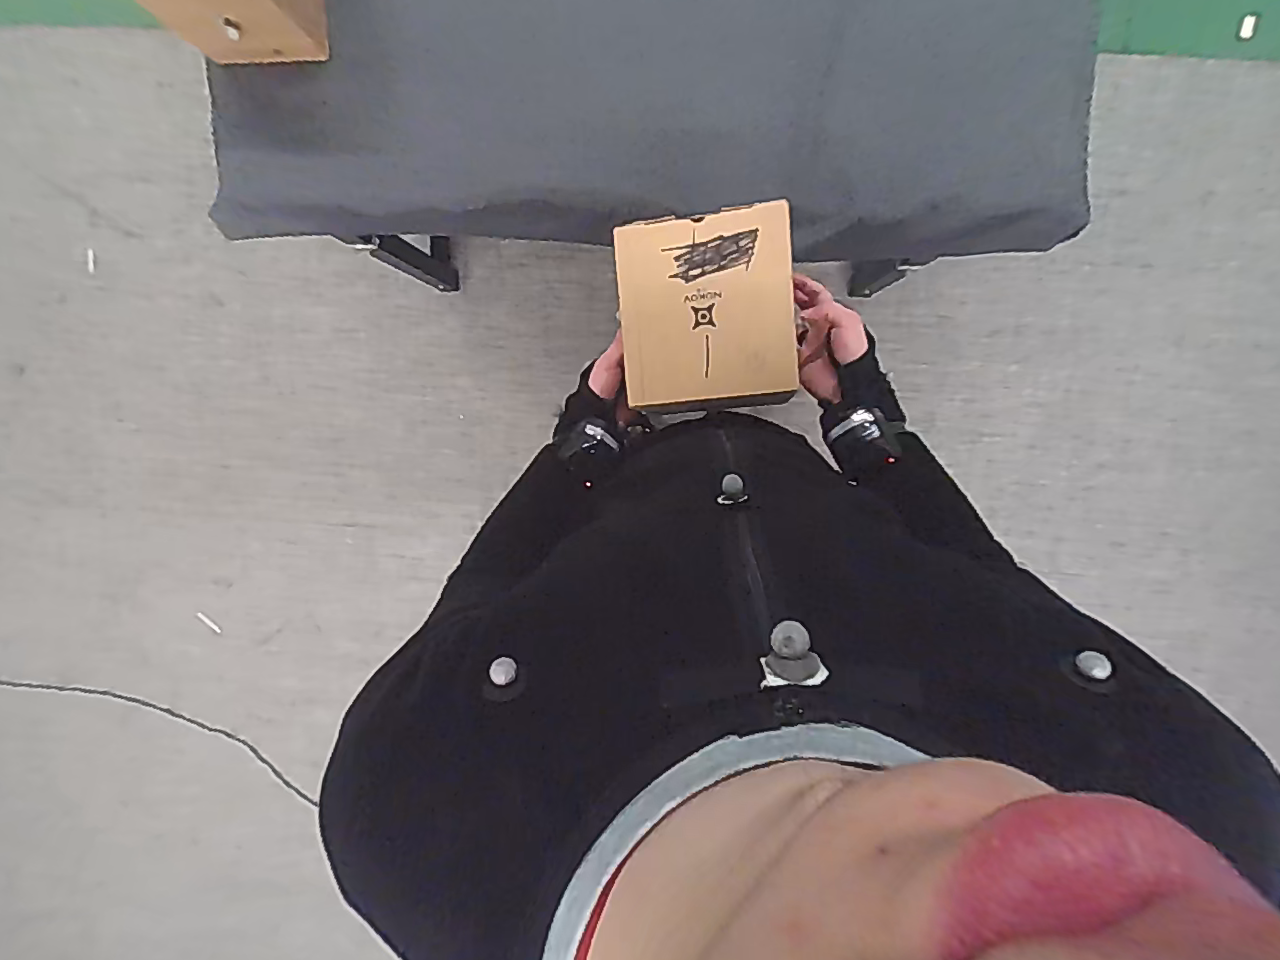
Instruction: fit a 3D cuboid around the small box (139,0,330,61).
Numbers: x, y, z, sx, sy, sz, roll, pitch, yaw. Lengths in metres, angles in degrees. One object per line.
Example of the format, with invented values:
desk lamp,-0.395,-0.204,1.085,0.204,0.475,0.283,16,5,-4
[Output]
small box,-0.519,-0.667,0.681,0.168,0.176,0.179,-1,98,2
